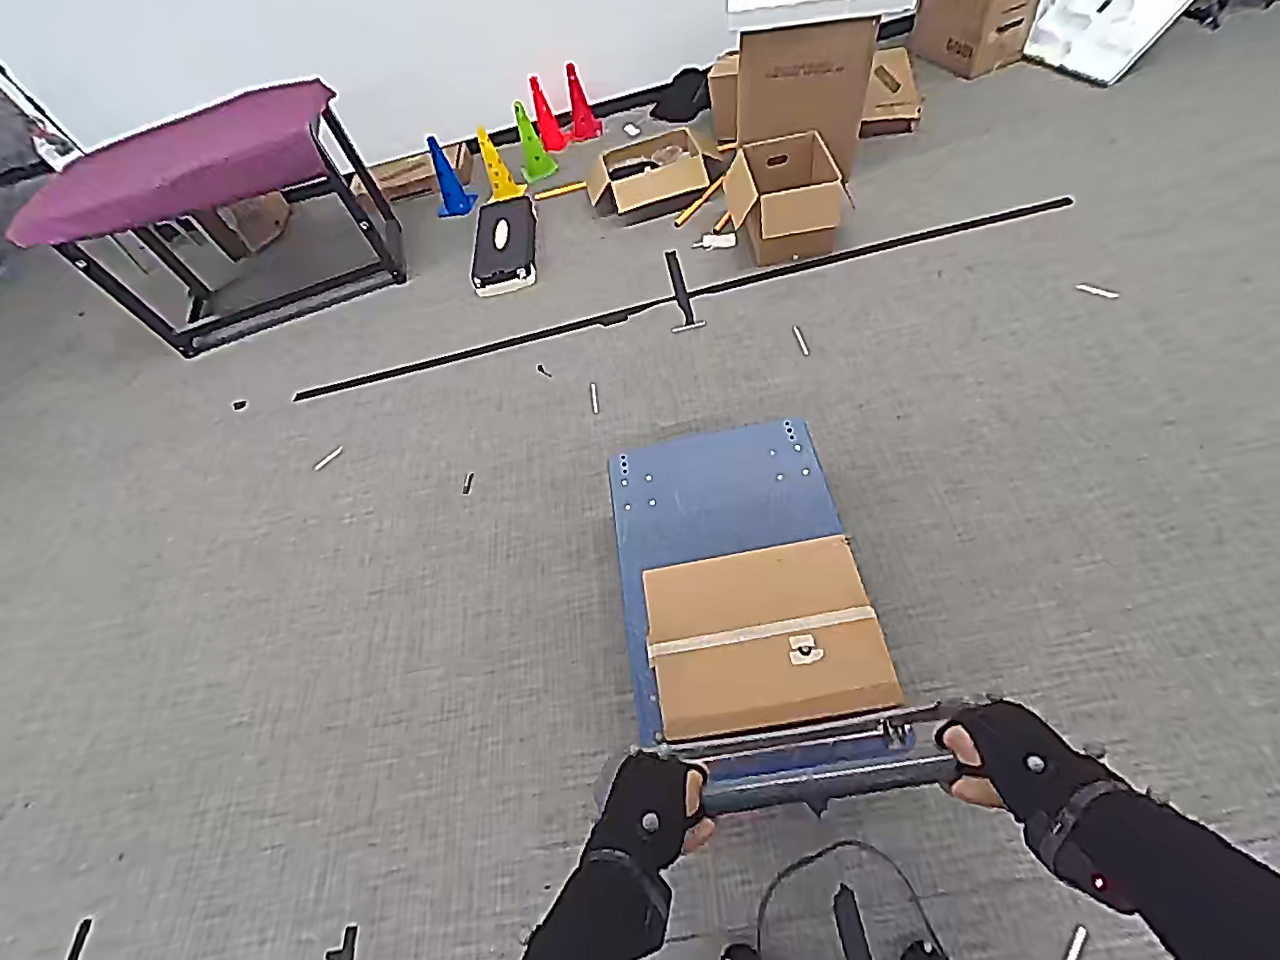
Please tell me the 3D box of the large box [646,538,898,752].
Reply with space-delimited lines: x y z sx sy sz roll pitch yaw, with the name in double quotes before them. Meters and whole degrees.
"large box" 0.247 0.358 1.128 0.408 0.320 0.320 -11 60 3
